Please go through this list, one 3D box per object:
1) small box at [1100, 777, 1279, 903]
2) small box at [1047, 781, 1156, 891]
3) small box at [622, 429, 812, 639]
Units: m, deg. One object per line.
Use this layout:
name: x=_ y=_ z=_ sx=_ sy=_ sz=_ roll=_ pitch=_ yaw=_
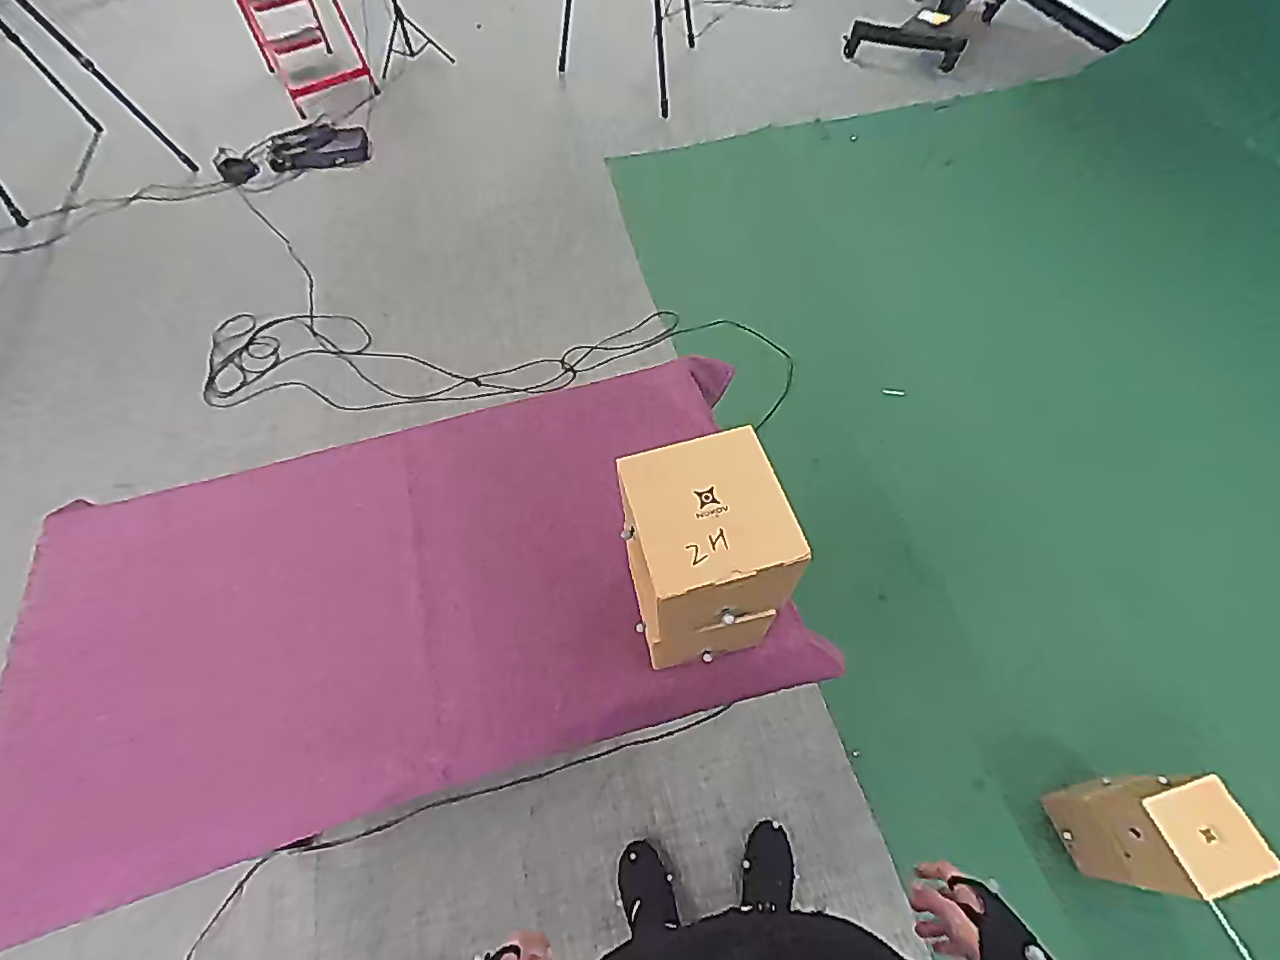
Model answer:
small box: x=1.082 y=0.714 z=1.082 sx=0.179 sy=0.176 sz=0.168 roll=-14 pitch=60 yaw=-7
small box: x=1.086 y=0.793 z=1.222 sx=0.179 sy=0.176 sz=0.168 roll=-15 pitch=60 yaw=-5
small box: x=0.080 y=0.070 z=0.651 sx=0.168 sy=0.176 sz=0.179 roll=-14 pitch=60 yaw=-4
